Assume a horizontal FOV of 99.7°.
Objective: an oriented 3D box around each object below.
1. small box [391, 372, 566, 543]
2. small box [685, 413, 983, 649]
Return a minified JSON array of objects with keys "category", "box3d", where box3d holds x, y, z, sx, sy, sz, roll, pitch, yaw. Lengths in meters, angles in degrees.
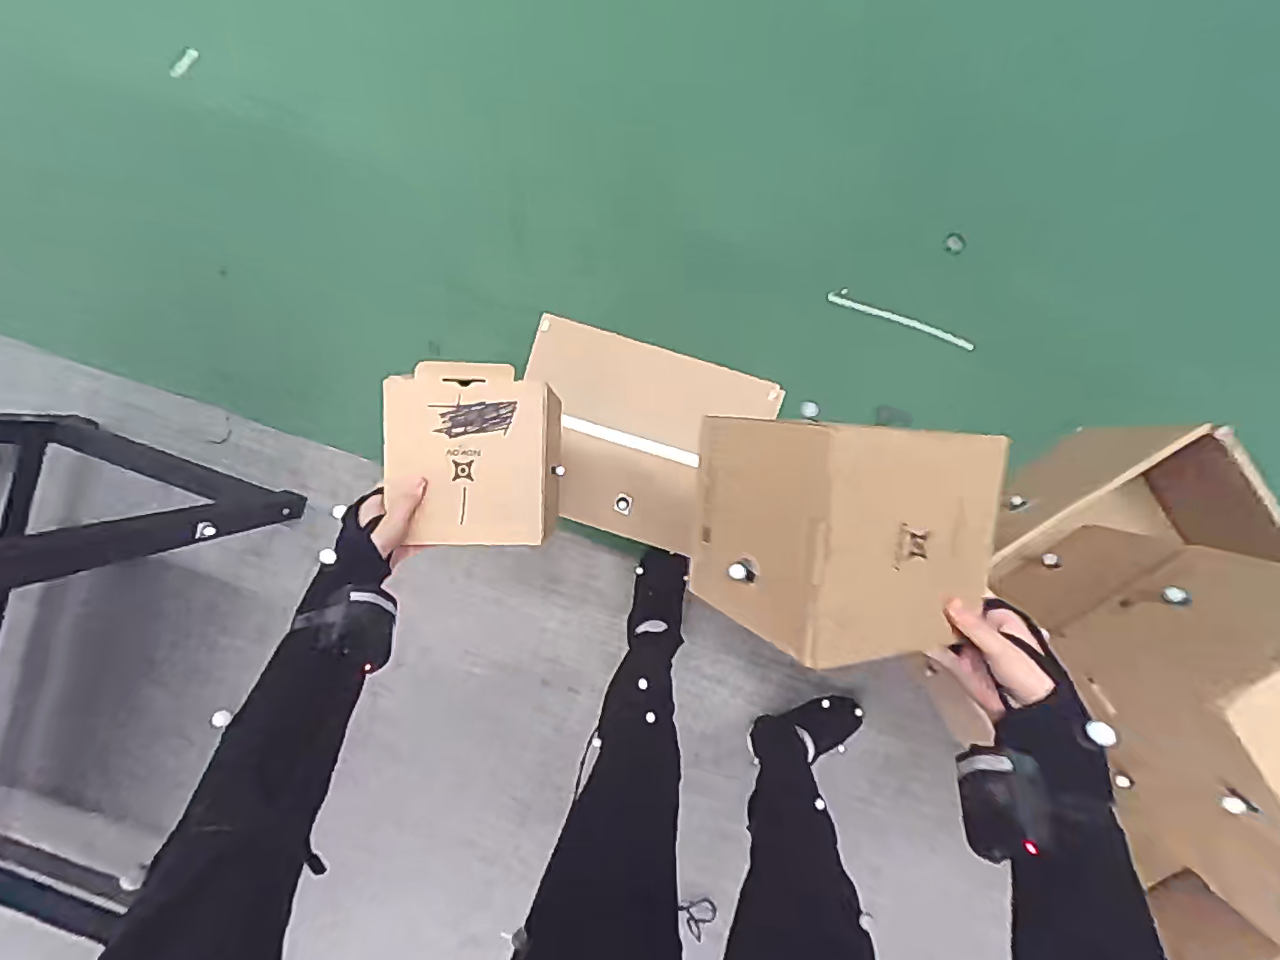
[{"category":"small box","box3d":[-0.181,-0.025,0.652,0.168,0.176,0.179,3,92,-3]},{"category":"small box","box3d":[0.154,0.029,0.472,0.179,0.176,0.168,0,98,-24]}]
